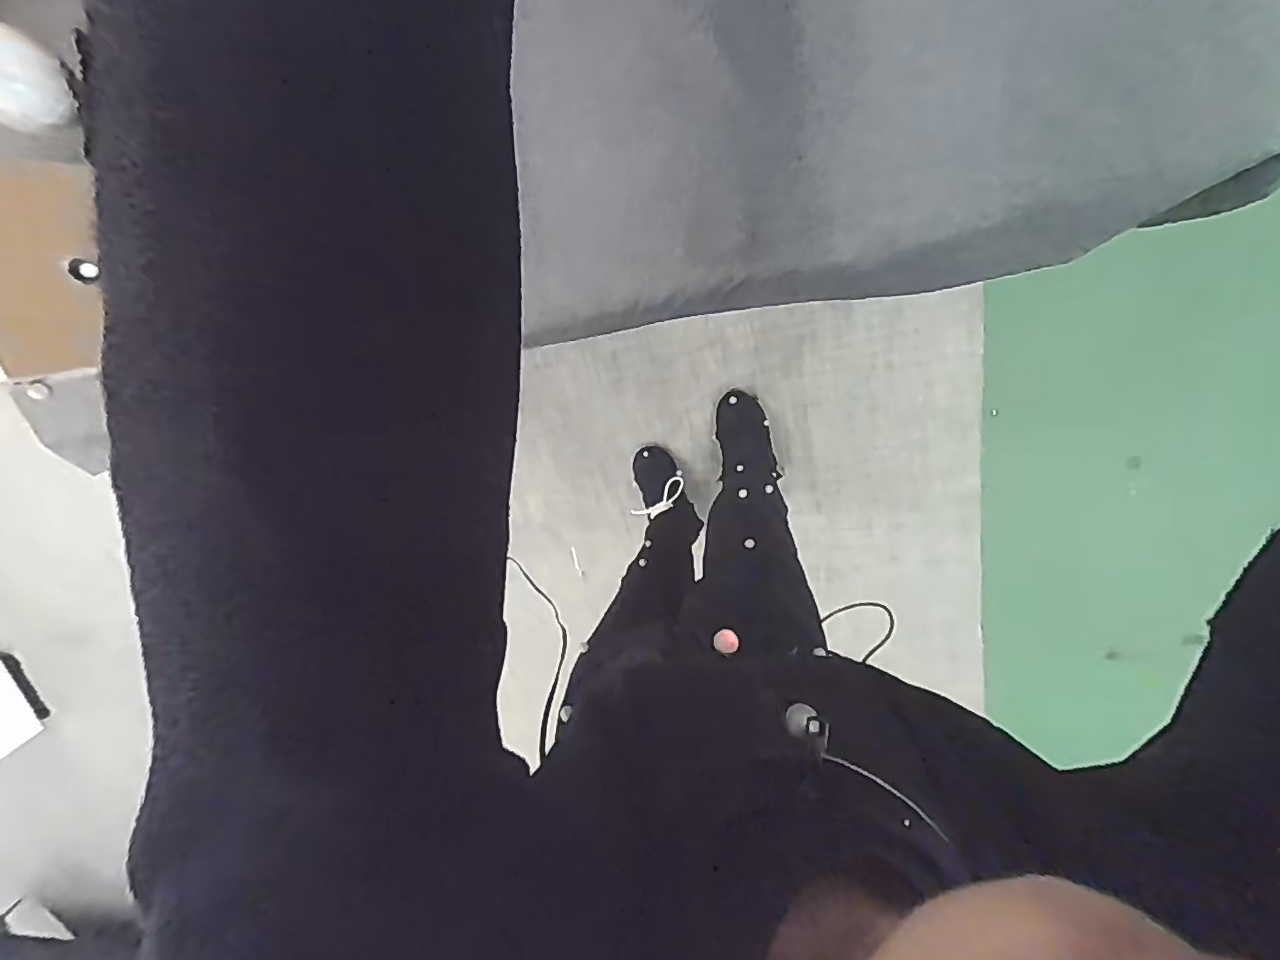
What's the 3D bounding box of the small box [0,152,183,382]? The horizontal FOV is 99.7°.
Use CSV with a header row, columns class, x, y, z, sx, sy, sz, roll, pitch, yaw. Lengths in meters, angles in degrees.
class,x,y,z,sx,sy,sz,roll,pitch,yaw
small box,-0.558,-0.178,0.473,0.179,0.176,0.168,-6,111,14
